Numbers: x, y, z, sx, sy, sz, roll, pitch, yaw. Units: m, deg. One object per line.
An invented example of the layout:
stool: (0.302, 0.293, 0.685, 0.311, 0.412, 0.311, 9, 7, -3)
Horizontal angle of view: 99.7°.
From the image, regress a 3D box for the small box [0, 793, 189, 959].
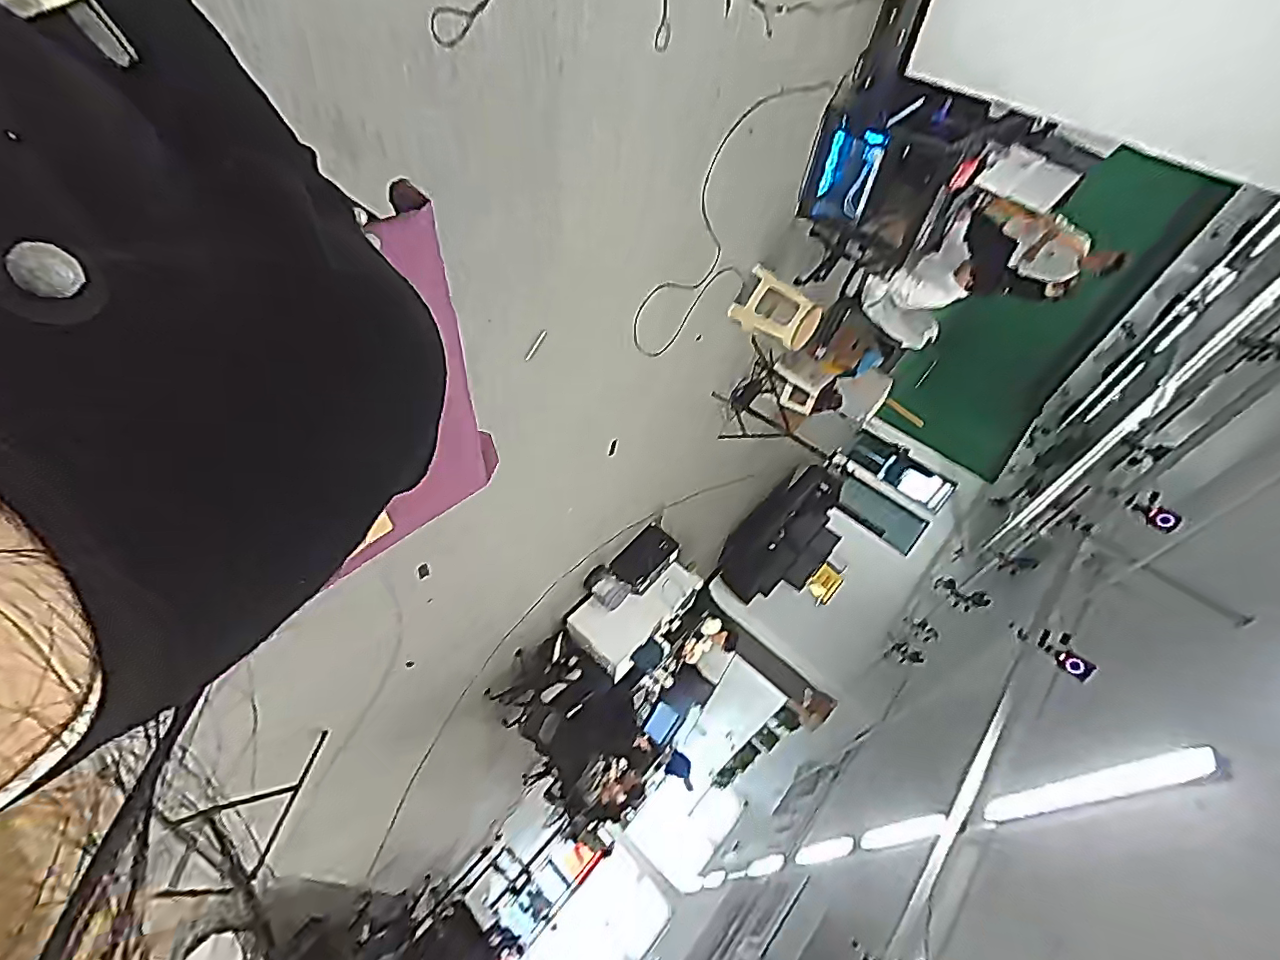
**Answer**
small box: (-0.537, 0.405, 0.443, 0.179, 0.176, 0.168, -38, 153, -32)

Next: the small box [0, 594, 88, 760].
small box: (-0.773, 0.217, 0.577, 0.179, 0.176, 0.168, -37, 152, -32)
